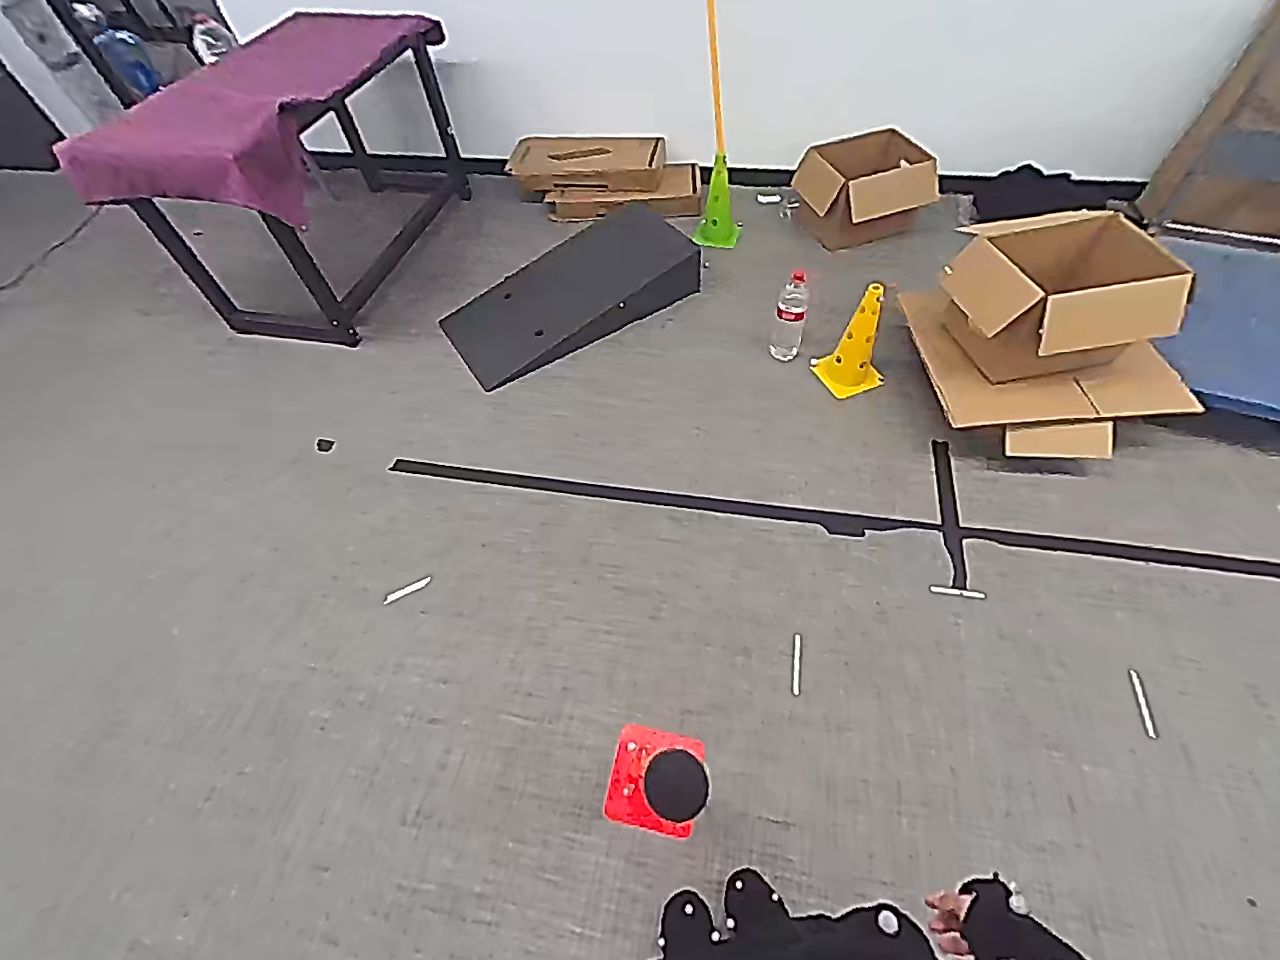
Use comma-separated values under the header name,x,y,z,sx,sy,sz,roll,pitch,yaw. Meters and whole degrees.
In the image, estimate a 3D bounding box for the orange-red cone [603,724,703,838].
name,x,y,z,sx,sy,sz,roll,pitch,yaw
orange-red cone,0.023,0.576,1.085,0.198,0.360,0.199,11,56,11
